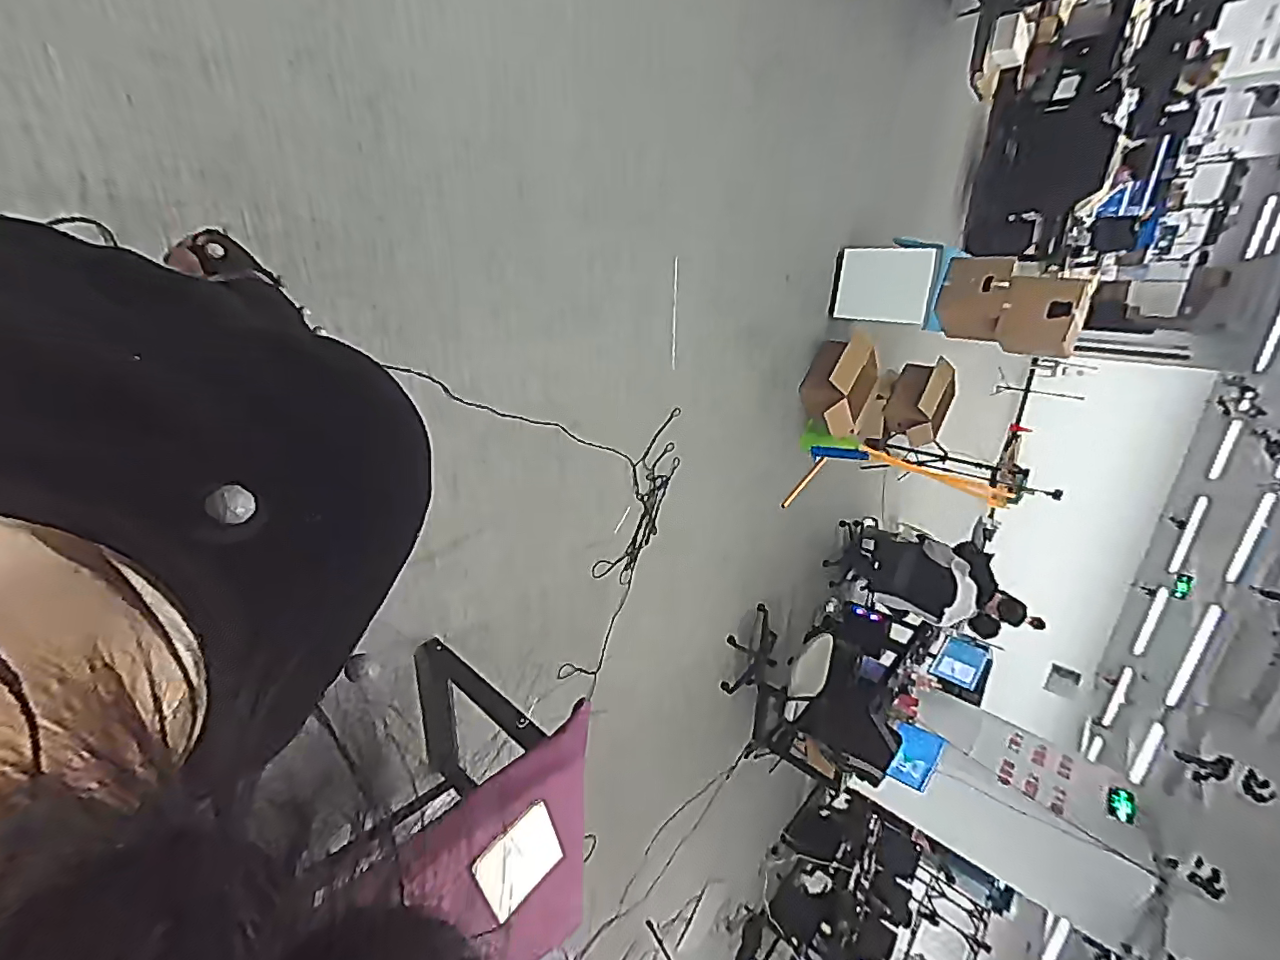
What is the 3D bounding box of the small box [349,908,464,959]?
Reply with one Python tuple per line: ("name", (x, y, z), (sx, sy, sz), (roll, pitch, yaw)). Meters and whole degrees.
("small box", (-0.449, 0.983, 1.040), (0.168, 0.176, 0.179), (-18, 118, -44))
